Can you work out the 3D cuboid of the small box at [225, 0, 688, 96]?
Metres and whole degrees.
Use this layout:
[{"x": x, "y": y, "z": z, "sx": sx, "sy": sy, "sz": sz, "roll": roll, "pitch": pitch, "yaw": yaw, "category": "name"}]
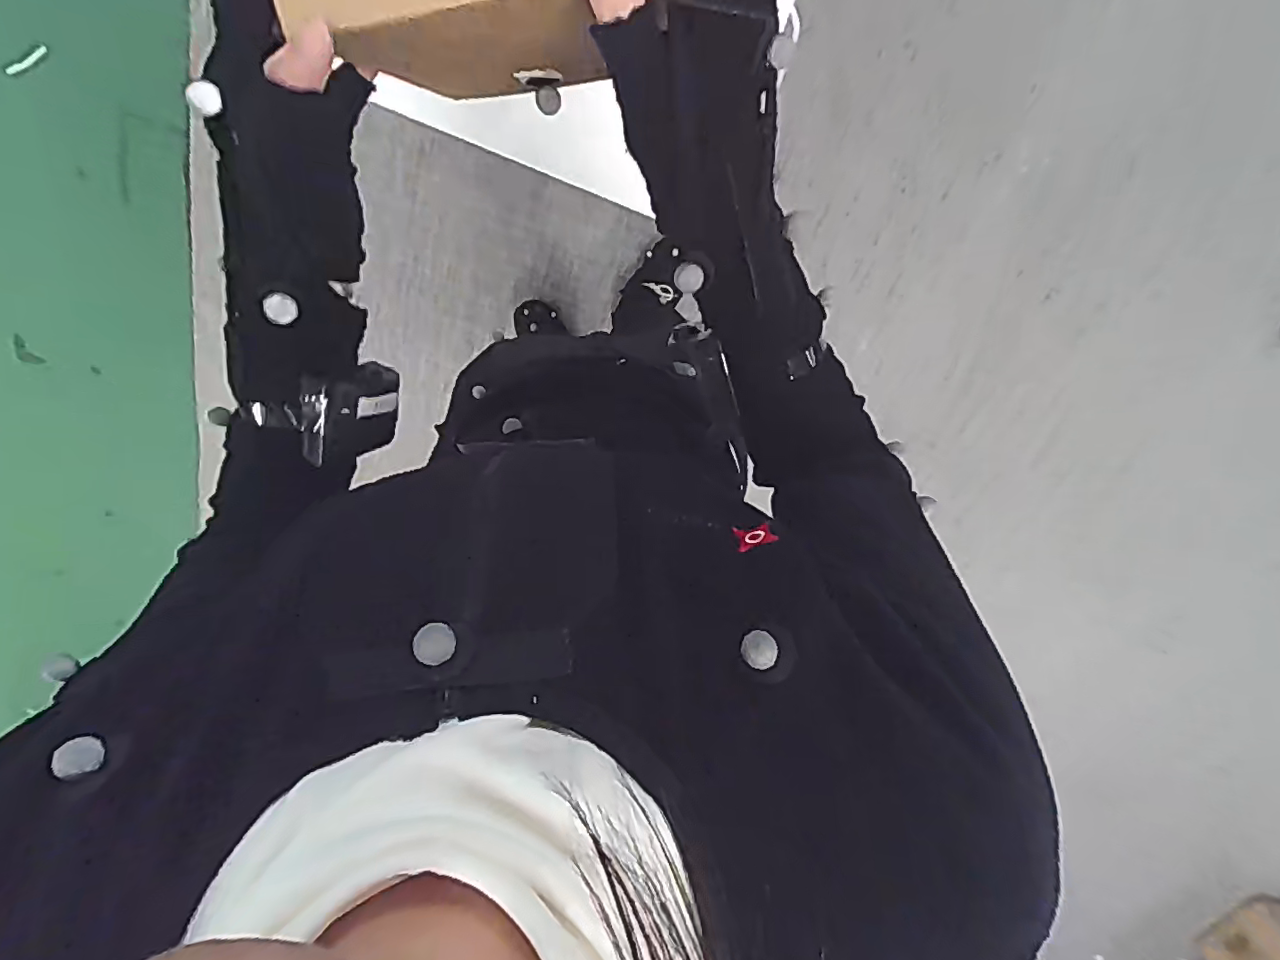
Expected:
[{"x": -0.074, "y": -0.292, "z": 0.228, "sx": 0.168, "sy": 0.176, "sz": 0.179, "roll": -1, "pitch": 117, "yaw": 13, "category": "small box"}]
